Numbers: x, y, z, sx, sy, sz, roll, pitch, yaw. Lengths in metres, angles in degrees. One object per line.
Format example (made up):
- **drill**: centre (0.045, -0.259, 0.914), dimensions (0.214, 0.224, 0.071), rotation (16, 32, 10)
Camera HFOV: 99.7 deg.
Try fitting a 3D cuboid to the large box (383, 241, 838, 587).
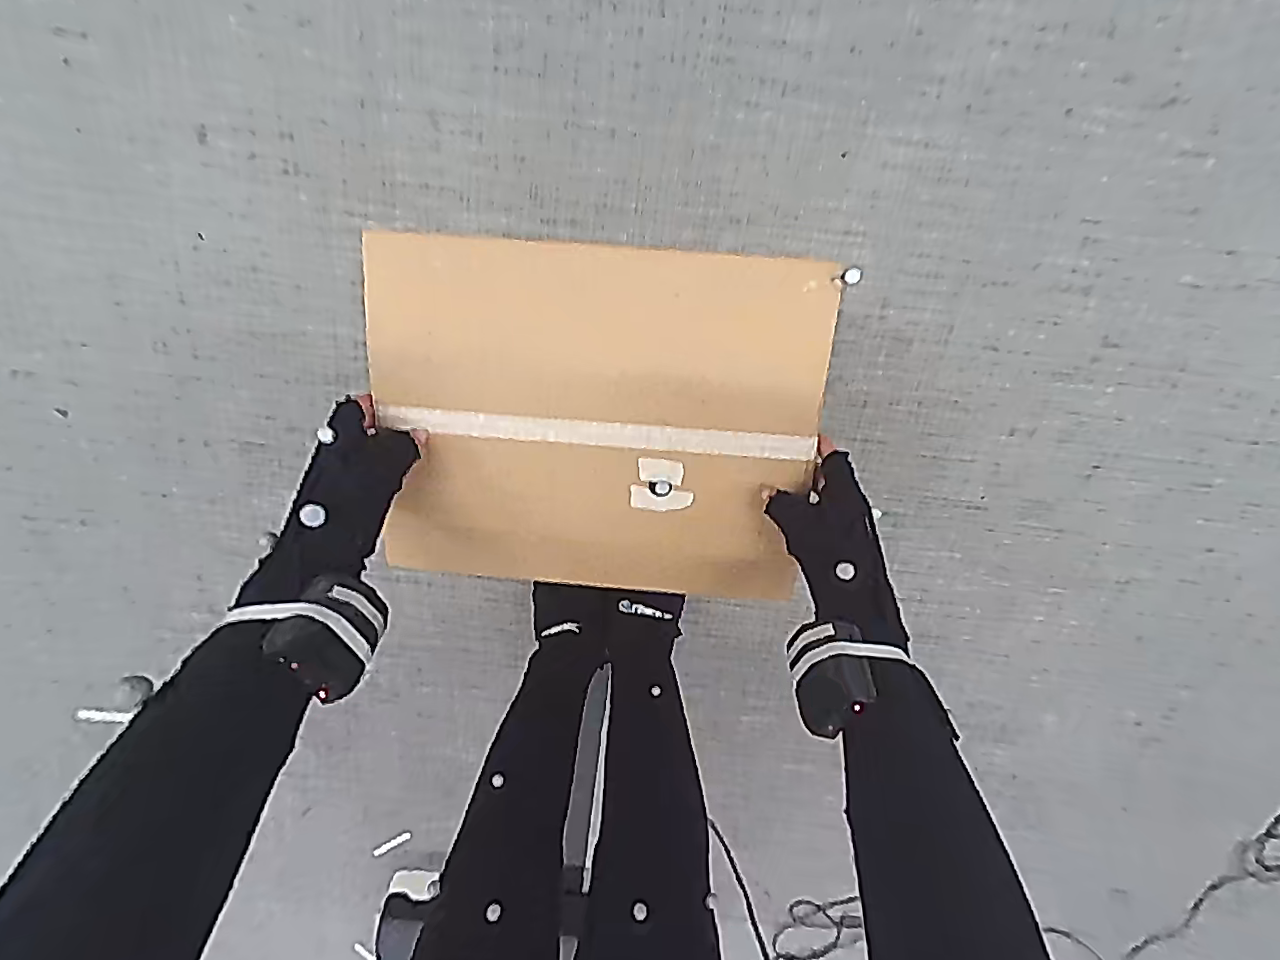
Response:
- **large box**: centre (-0.031, -0.090, 0.649), dimensions (0.408, 0.320, 0.320), rotation (4, 108, 1)
